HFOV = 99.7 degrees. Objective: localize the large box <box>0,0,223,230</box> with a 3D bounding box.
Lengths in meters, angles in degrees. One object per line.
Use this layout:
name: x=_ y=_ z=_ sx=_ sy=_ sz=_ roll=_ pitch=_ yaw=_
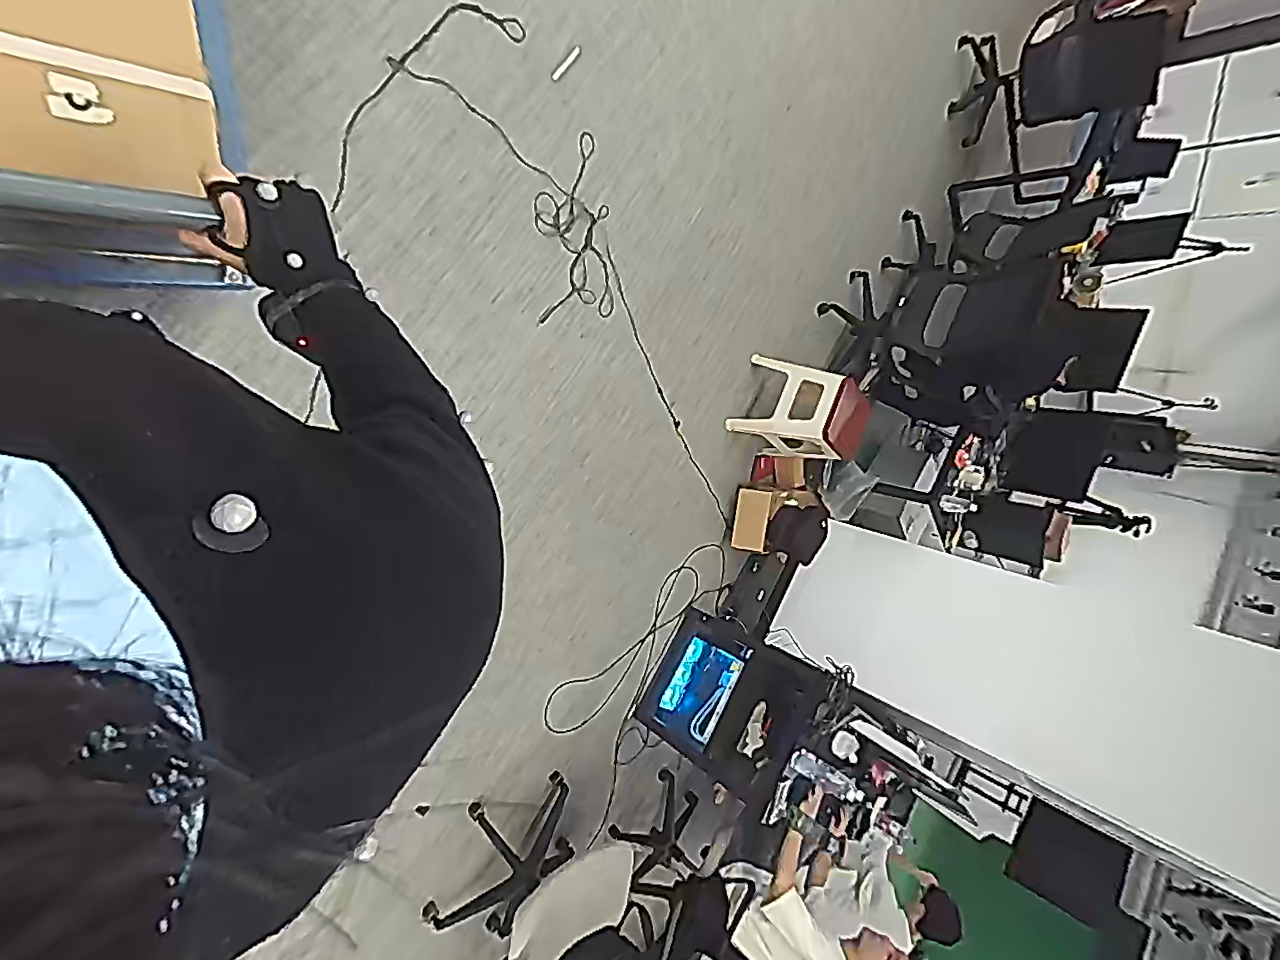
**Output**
large box: x=-0.853 y=-0.534 z=0.714 sx=0.408 sy=0.320 sz=0.320 roll=-14 pitch=113 yaw=-44
